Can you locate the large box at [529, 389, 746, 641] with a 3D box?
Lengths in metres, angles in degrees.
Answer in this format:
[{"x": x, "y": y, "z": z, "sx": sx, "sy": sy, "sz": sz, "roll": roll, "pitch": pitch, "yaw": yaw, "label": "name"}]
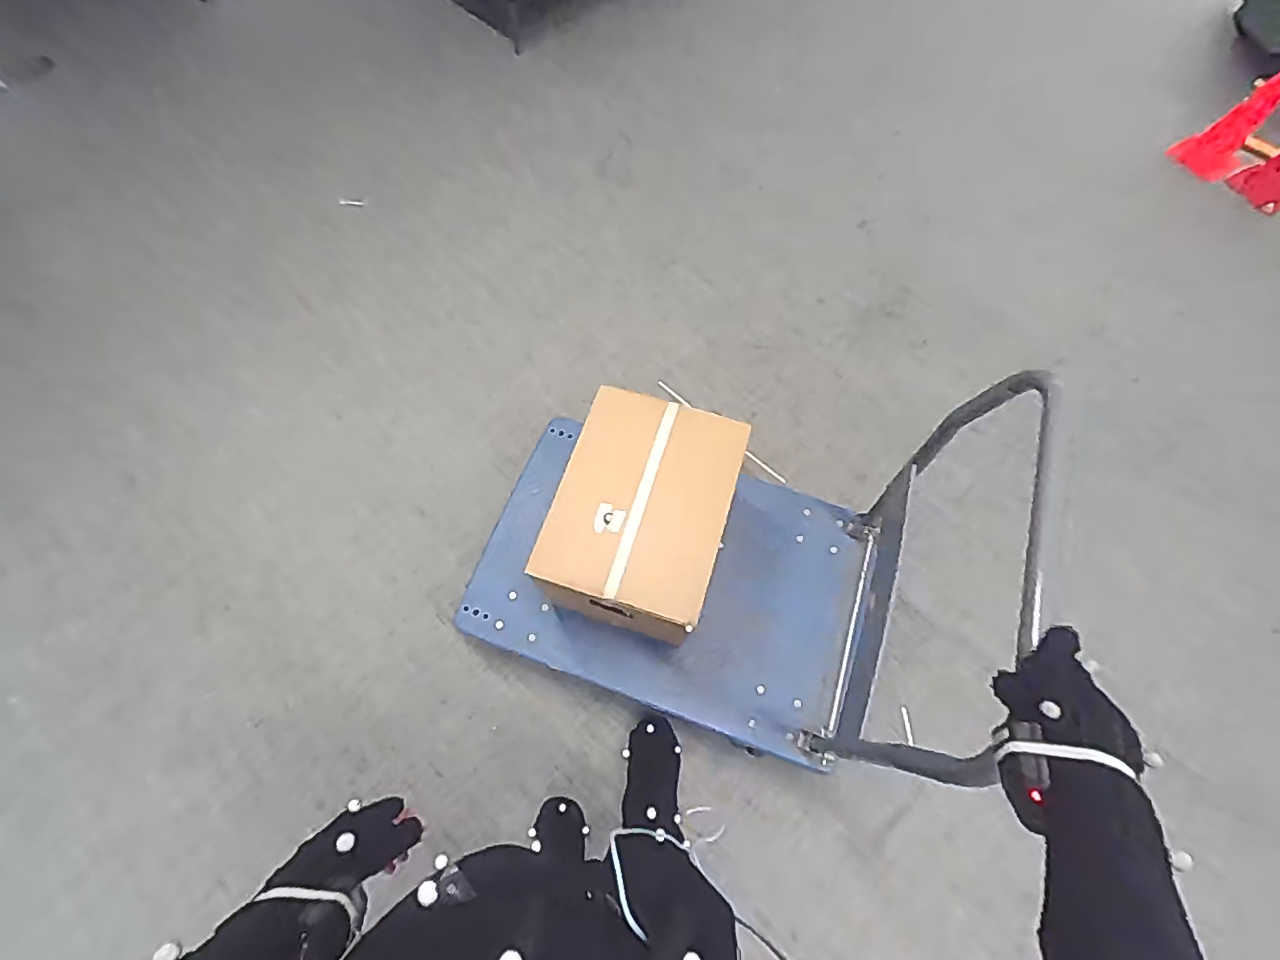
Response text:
[{"x": 0.007, "y": 0.085, "z": 1.136, "sx": 0.320, "sy": 0.320, "sz": 0.408, "roll": 16, "pitch": 69, "yaw": 8, "label": "large box"}]
